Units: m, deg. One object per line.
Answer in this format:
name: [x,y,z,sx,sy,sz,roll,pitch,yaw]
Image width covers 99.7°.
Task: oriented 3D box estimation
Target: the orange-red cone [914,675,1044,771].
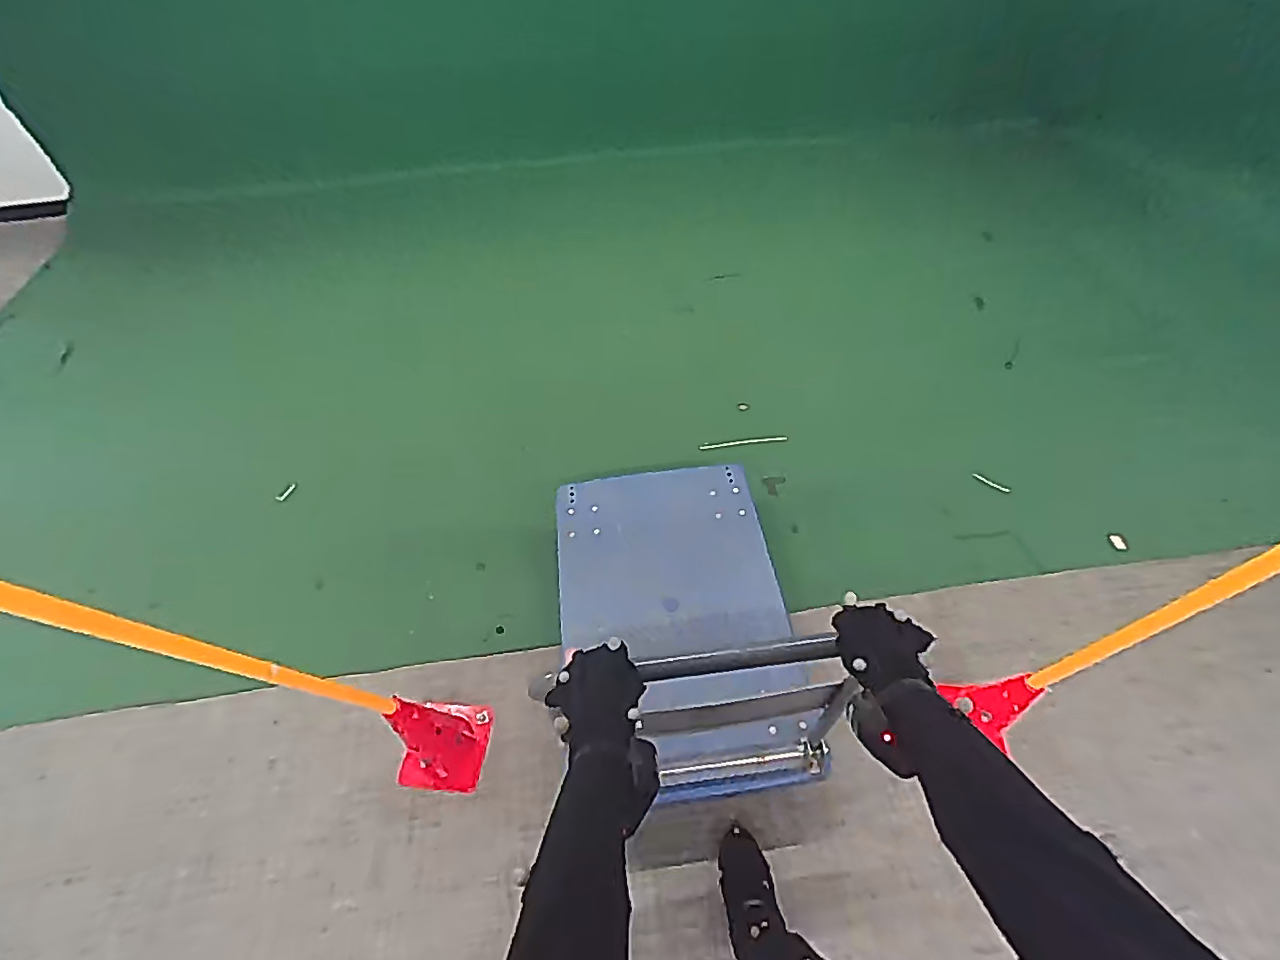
orange-red cone: [0.791,0.510,1.210,0.198,0.360,0.199,1,54,5]
